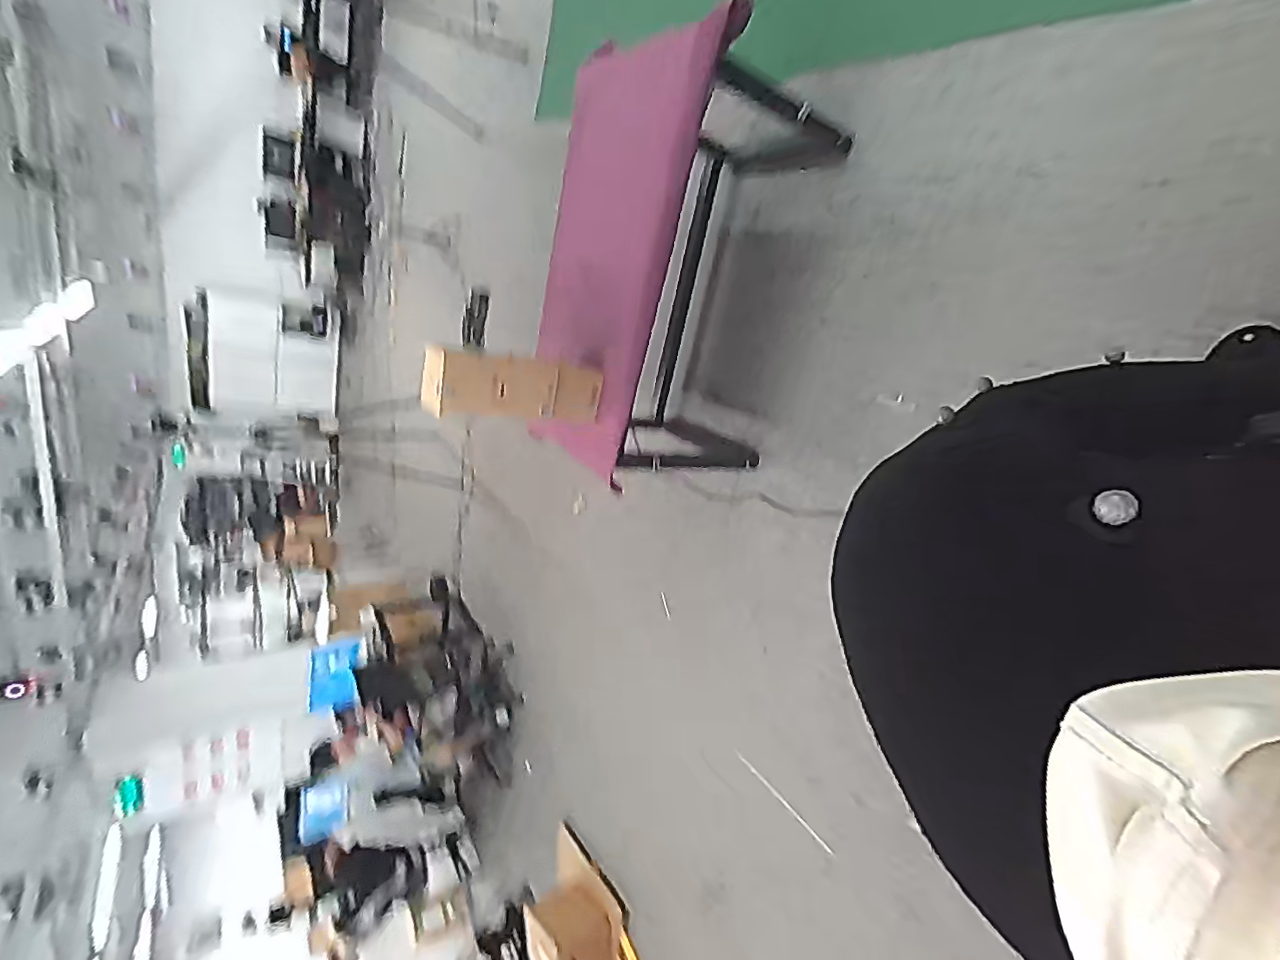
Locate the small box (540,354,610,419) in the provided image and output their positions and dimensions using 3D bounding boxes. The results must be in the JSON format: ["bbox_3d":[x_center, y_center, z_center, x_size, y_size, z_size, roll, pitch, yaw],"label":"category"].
[{"bbox_3d":[-0.221,-0.294,1.719,0.179,0.176,0.168,32,116,47],"label":"small box"}]

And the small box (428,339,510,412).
[{"bbox_3d":[-0.482,-0.291,1.522,0.179,0.176,0.168,32,117,49],"label":"small box"}]

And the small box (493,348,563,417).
[{"bbox_3d":[-0.347,-0.289,1.615,0.179,0.176,0.168,33,117,49],"label":"small box"}]
